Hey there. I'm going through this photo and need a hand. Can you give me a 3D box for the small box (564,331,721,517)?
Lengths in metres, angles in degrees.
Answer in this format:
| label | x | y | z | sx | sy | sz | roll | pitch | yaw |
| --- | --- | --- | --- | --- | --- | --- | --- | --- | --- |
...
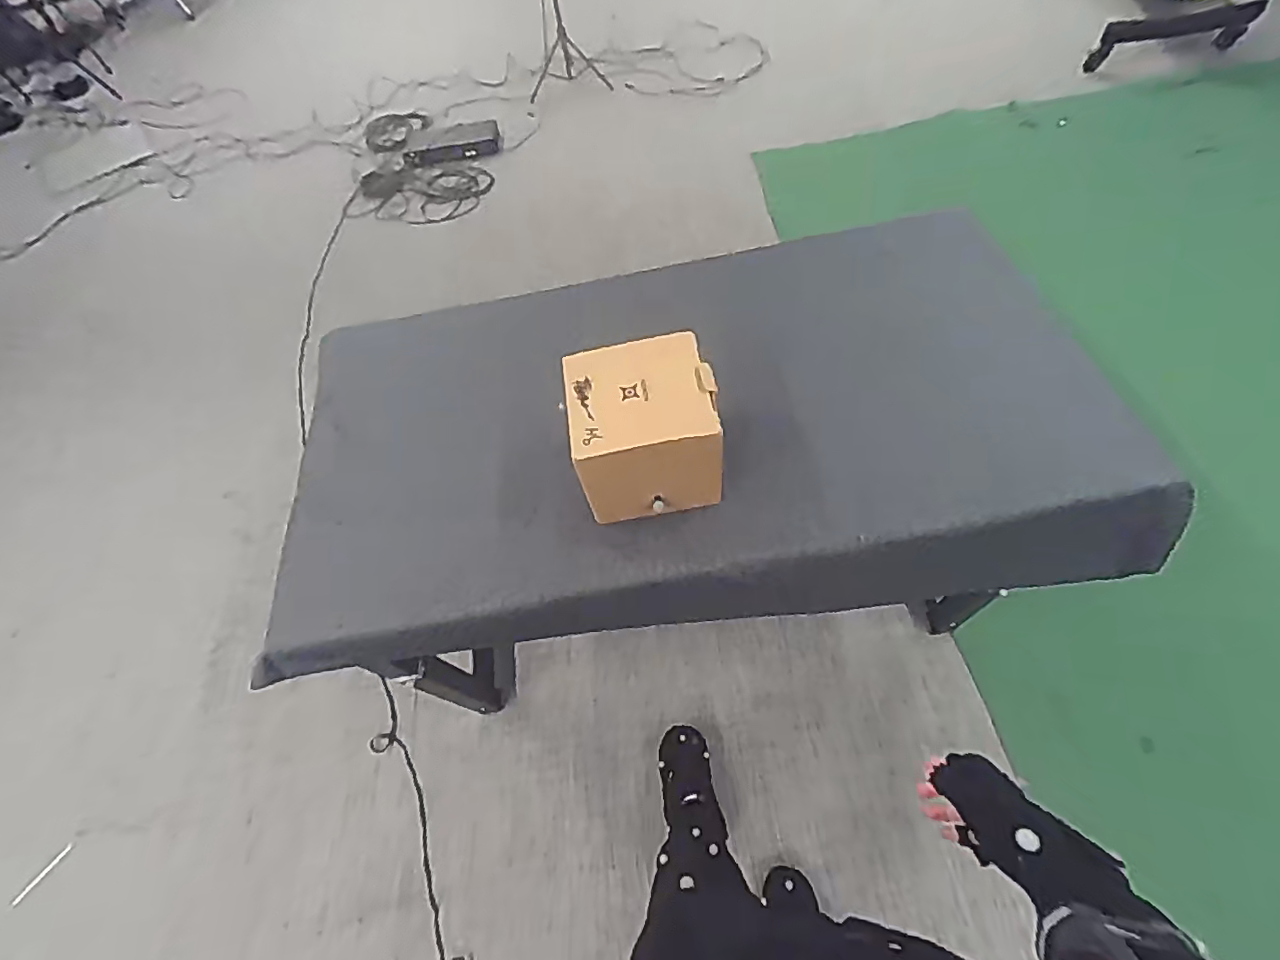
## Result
| label | x | y | z | sx | sy | sz | roll | pitch | yaw |
| --- | --- | --- | --- | --- | --- | --- | --- | --- | --- |
| small box | 0.005 | -0.068 | 0.722 | 0.179 | 0.176 | 0.168 | -10 | 58 | 2 |
